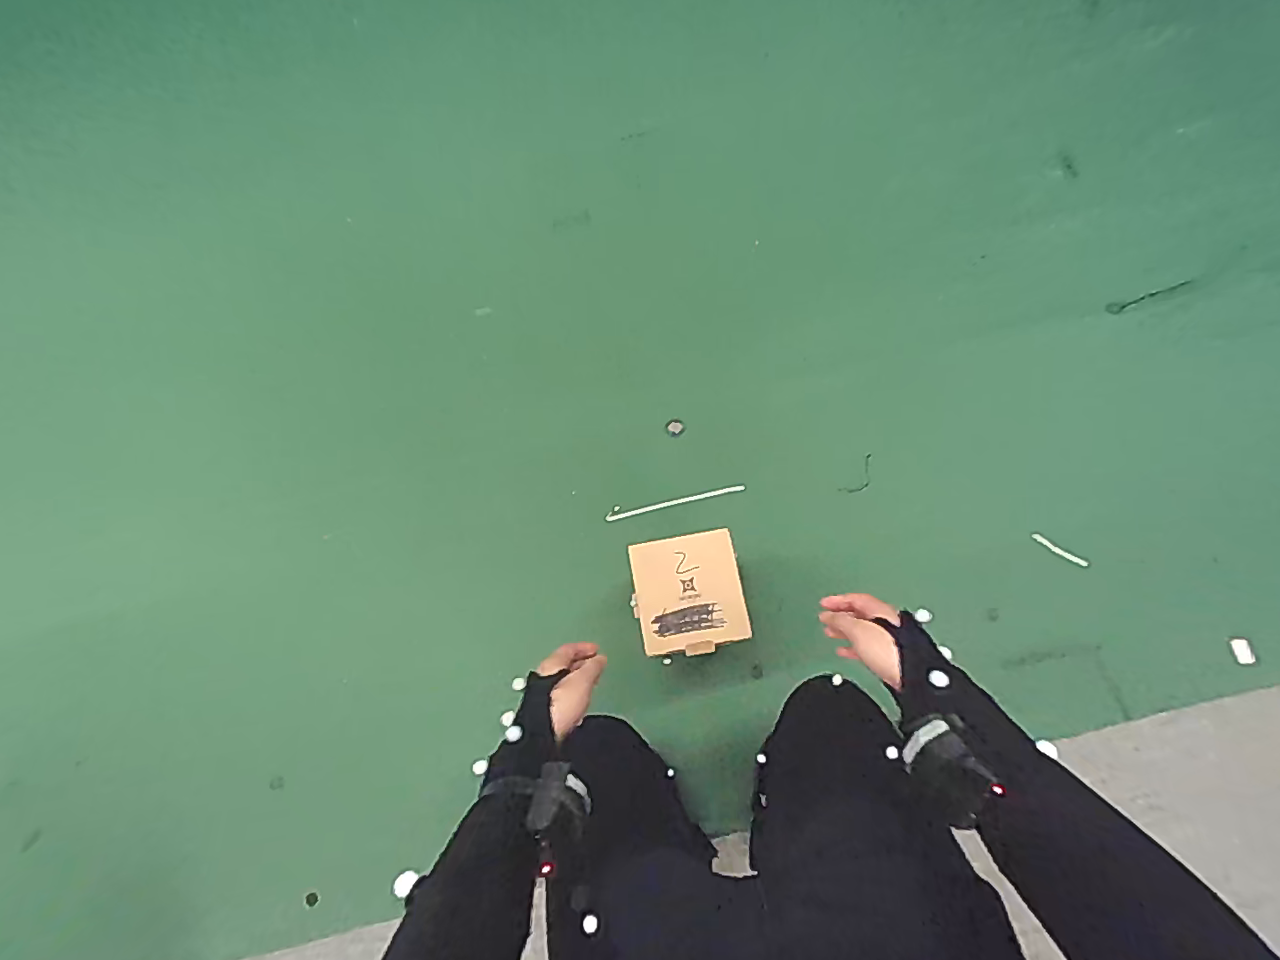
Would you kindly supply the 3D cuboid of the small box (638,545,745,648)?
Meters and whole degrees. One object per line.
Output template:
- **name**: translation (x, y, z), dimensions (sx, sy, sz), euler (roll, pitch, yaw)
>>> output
- **small box**: translation (0.094, 0.231, 1.067), dimensions (0.179, 0.176, 0.168), euler (-10, 74, 0)
